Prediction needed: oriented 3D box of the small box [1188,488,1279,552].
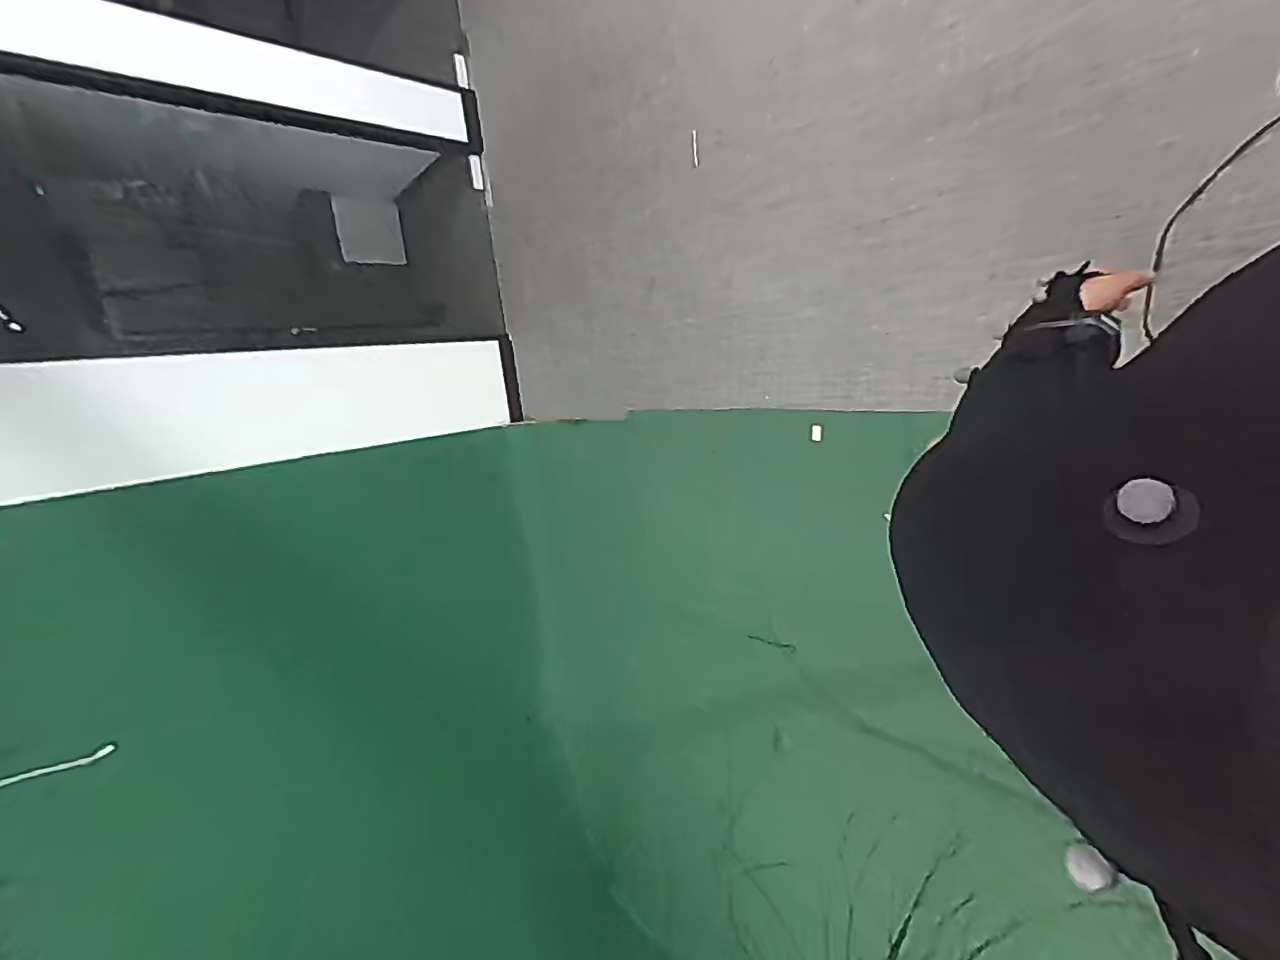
[{"bbox_3d":[1.136,0.128,0.953,0.168,0.176,0.179,-49,64,45],"label":"small box"}]
